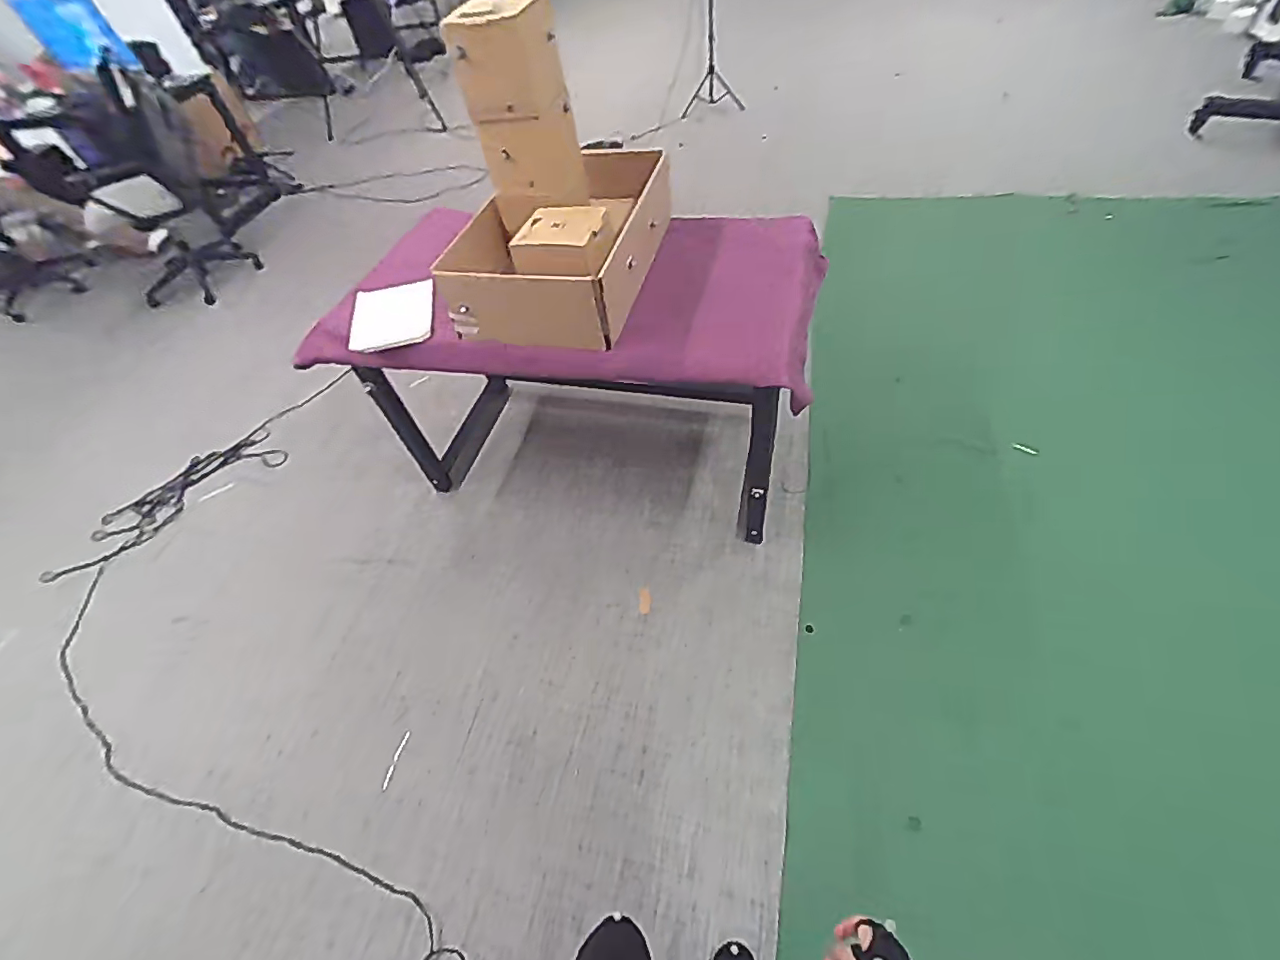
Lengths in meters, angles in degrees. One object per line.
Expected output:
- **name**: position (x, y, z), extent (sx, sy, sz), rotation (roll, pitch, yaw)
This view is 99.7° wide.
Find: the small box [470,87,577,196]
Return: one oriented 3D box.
- **small box**: position (-0.262, -0.788, 1.269), extent (0.168, 0.176, 0.179), rotation (9, 55, 16)
